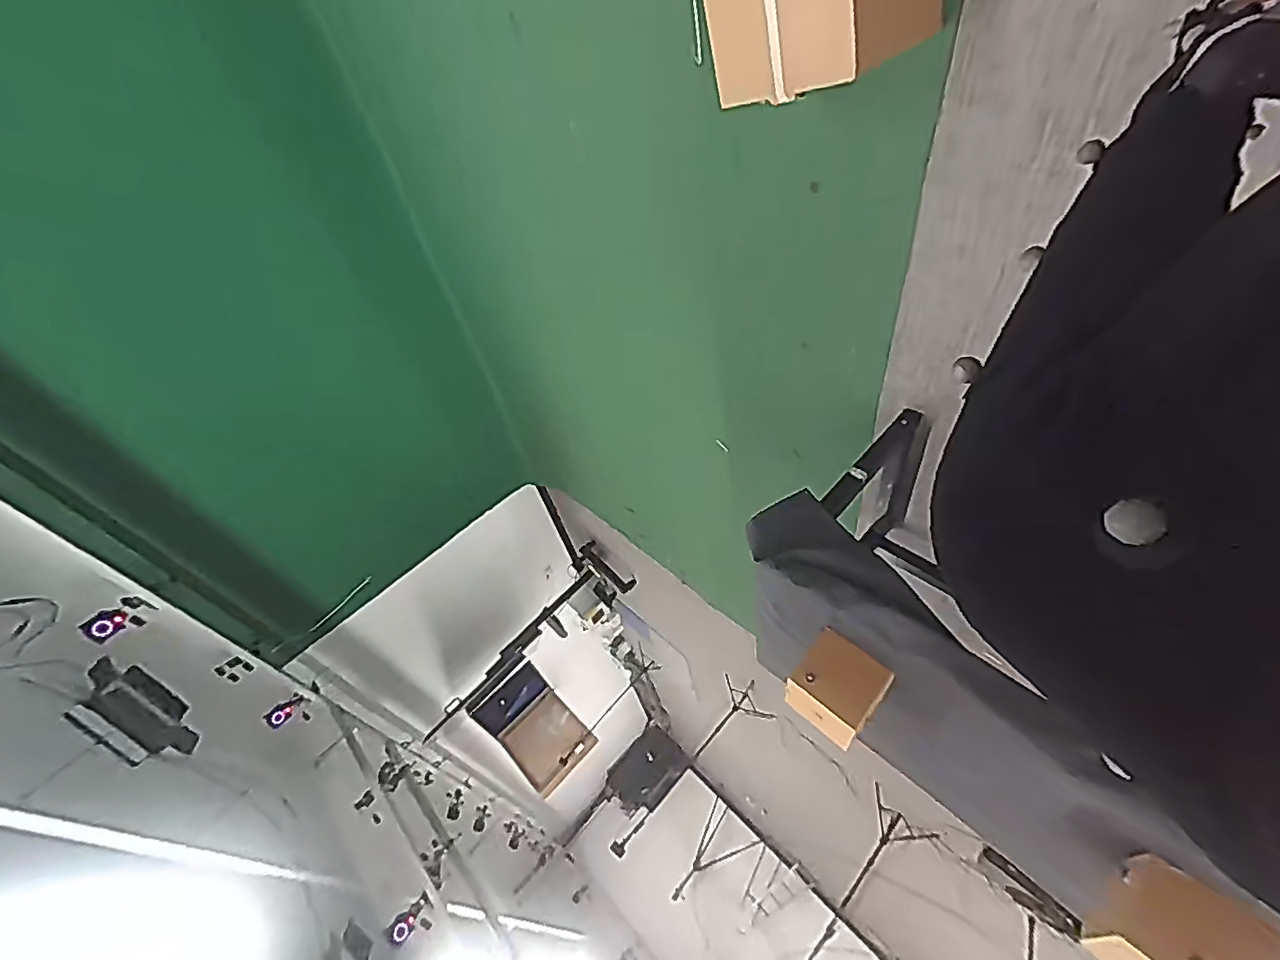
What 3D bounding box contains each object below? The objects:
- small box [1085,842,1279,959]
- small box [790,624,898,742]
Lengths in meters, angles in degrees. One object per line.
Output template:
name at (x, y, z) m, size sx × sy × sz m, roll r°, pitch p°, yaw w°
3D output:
small box at (0.927, 0.772, 0.927) m, size 0.179 × 0.176 × 0.168 m, roll 33°, pitch 152°, yaw 37°
small box at (0.484, 0.479, 1.289) m, size 0.179 × 0.176 × 0.168 m, roll 34°, pitch 154°, yaw 33°
